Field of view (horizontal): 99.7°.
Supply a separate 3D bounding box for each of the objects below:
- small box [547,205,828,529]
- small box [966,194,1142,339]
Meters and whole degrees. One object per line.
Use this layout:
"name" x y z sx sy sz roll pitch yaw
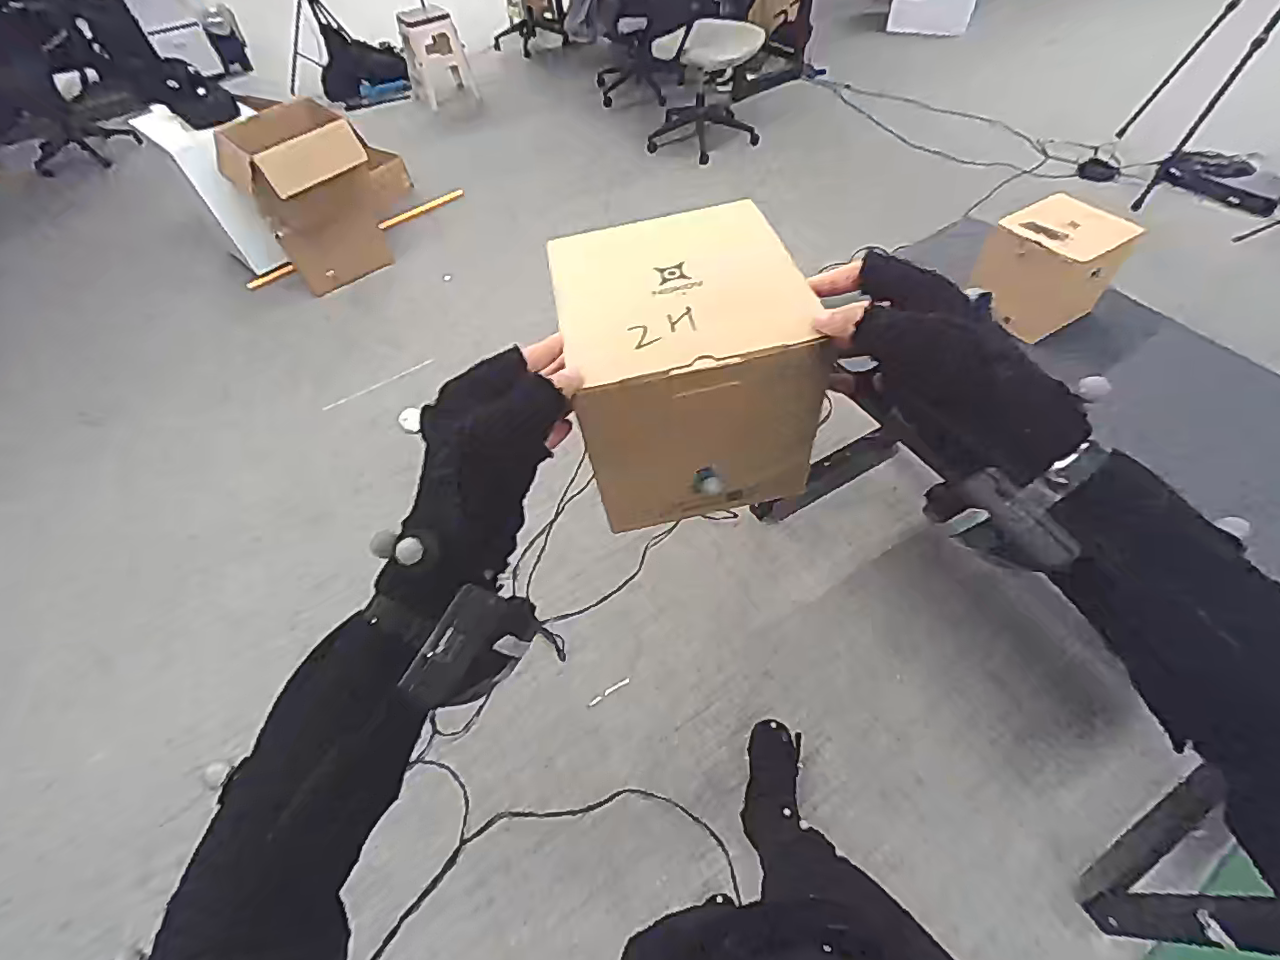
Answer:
"small box" 0.028 -0.087 0.439 0.168 0.176 0.179 -13 54 -1
"small box" 0.747 -0.391 1.004 0.179 0.176 0.168 -28 57 -15
